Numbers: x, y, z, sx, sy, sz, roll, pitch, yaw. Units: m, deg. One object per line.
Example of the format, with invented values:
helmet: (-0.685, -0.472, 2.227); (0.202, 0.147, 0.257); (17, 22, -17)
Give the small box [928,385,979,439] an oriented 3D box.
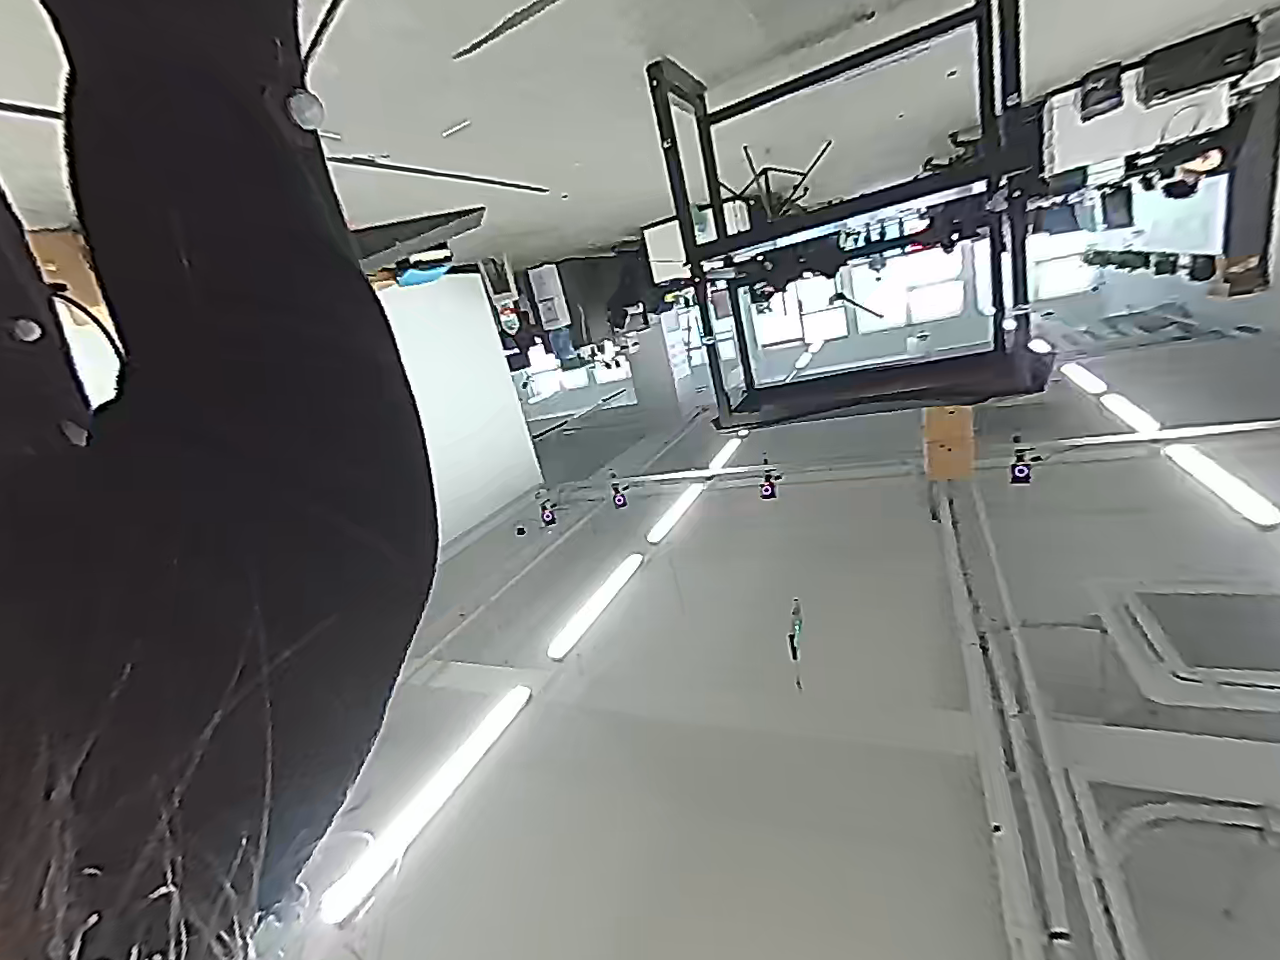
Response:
small box: (1.263, -0.277, 2.182); (0.168, 0.176, 0.179); (-4, -159, 28)
